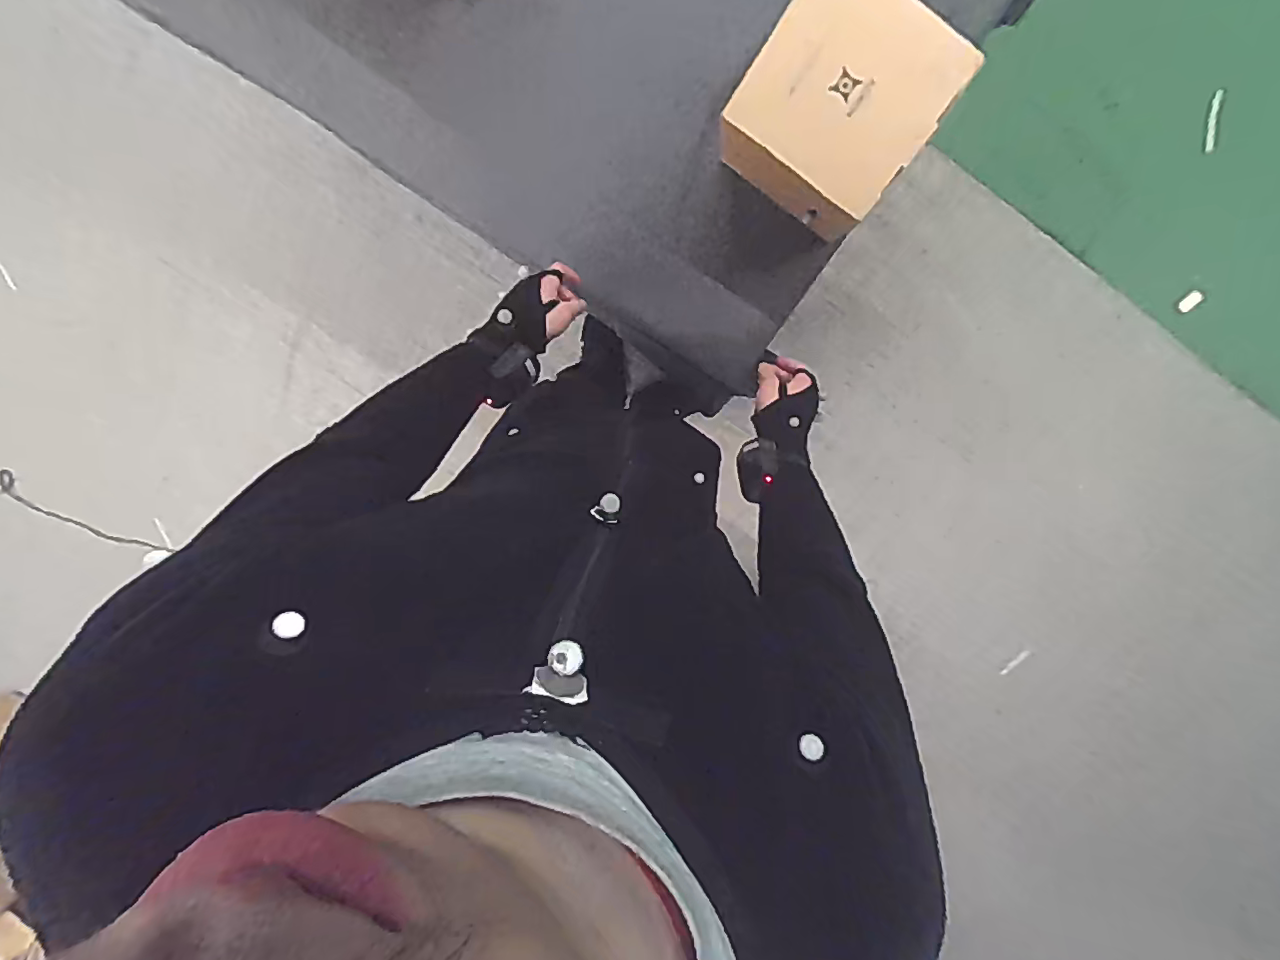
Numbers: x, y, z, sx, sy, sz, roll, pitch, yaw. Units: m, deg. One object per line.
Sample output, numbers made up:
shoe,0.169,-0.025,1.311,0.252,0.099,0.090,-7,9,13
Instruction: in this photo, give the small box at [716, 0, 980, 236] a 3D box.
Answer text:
small box,0.199,-0.383,0.573,0.179,0.176,0.168,35,108,-3
